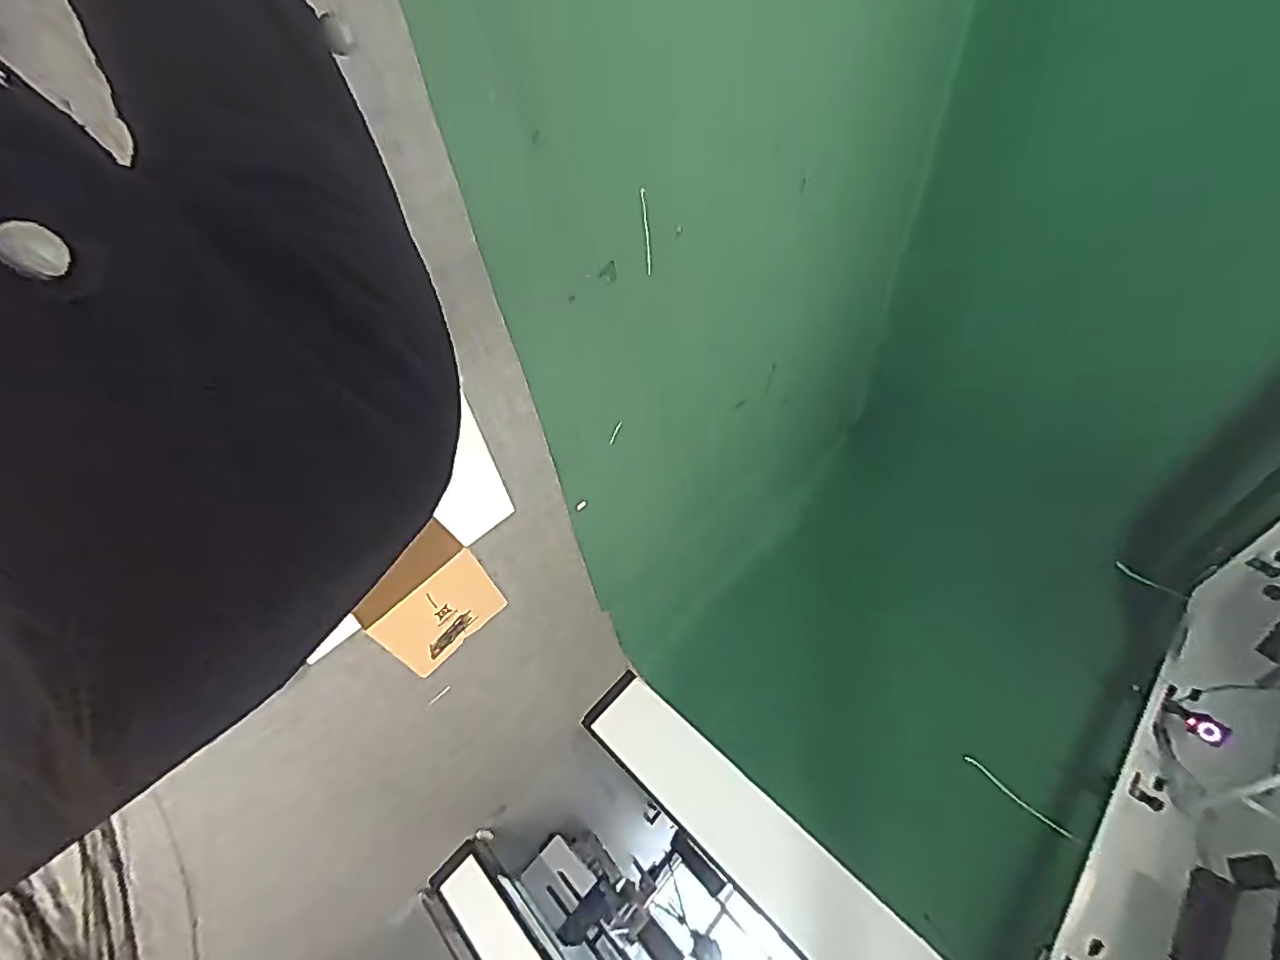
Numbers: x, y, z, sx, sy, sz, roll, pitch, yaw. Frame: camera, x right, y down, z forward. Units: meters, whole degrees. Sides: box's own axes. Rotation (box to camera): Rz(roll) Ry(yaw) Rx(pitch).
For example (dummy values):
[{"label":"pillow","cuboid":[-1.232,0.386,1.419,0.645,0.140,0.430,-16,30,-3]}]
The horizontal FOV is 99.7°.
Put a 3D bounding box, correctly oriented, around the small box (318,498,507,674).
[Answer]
[{"label":"small box","cuboid":[-0.341,0.158,0.825,0.168,0.176,0.179,-44,148,-19]}]
